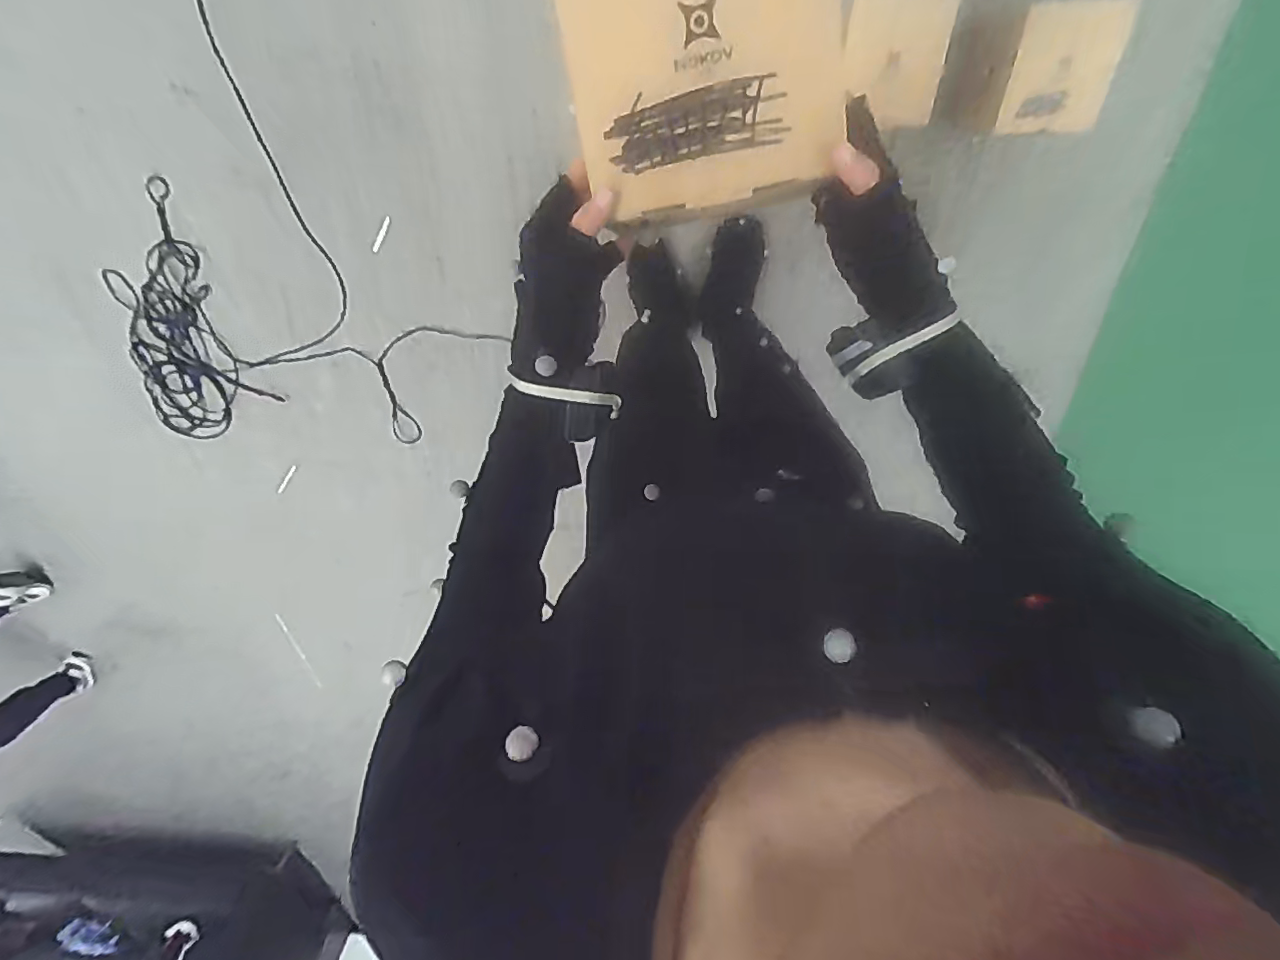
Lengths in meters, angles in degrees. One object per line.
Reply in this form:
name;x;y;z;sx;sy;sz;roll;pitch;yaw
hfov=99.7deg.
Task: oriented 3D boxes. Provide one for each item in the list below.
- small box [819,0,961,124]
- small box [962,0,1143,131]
small box;0.425;-0.735;0.953;0.168;0.176;0.179;3;124;4
small box;0.693;-0.713;0.939;0.168;0.176;0.179;2;123;4
